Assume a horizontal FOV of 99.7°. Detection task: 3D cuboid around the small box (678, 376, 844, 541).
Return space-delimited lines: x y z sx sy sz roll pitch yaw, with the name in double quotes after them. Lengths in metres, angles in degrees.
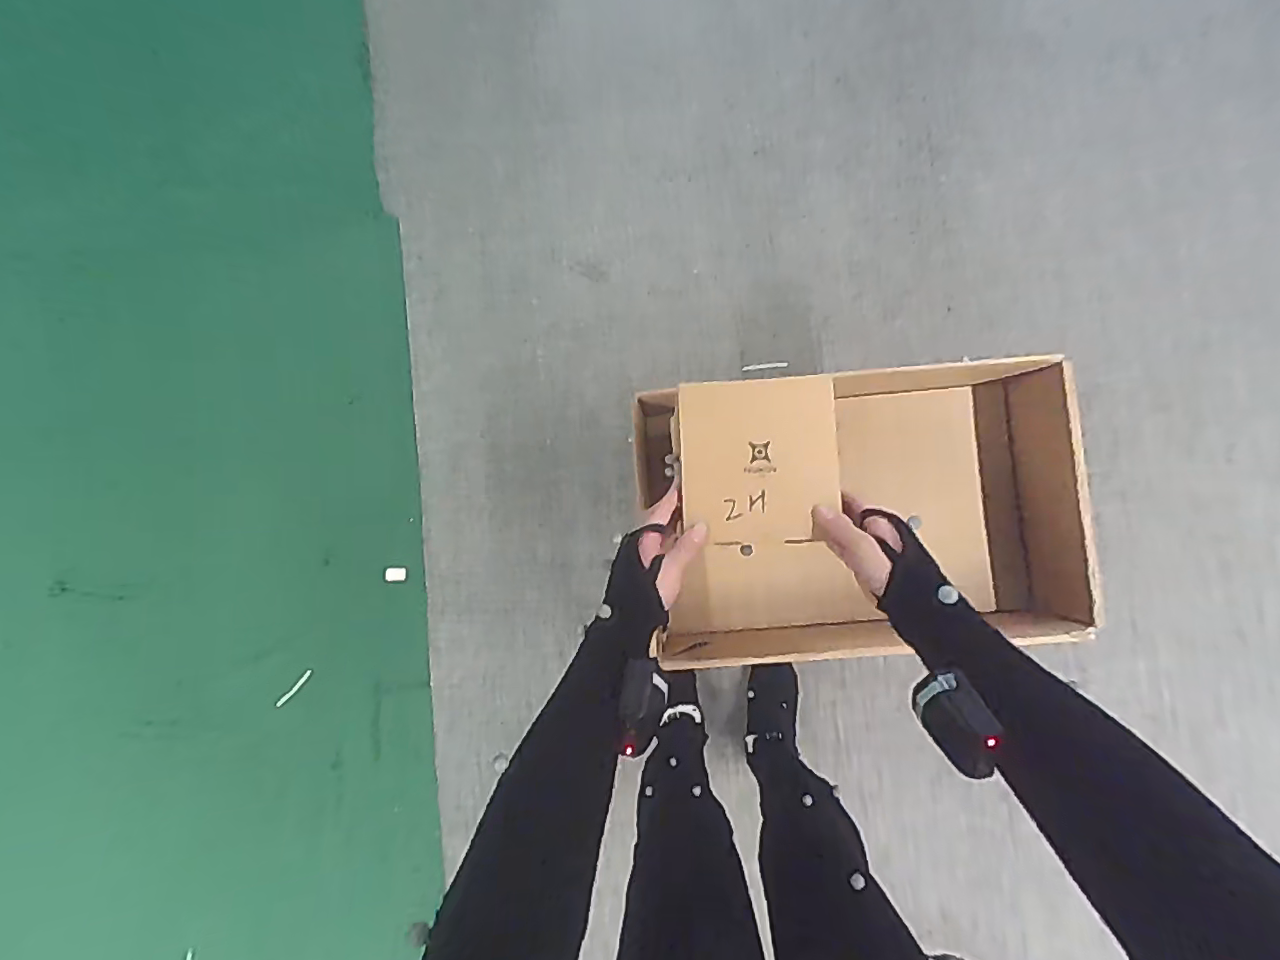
0.131 -0.016 0.649 0.168 0.176 0.179 -1 85 2 "small box"
